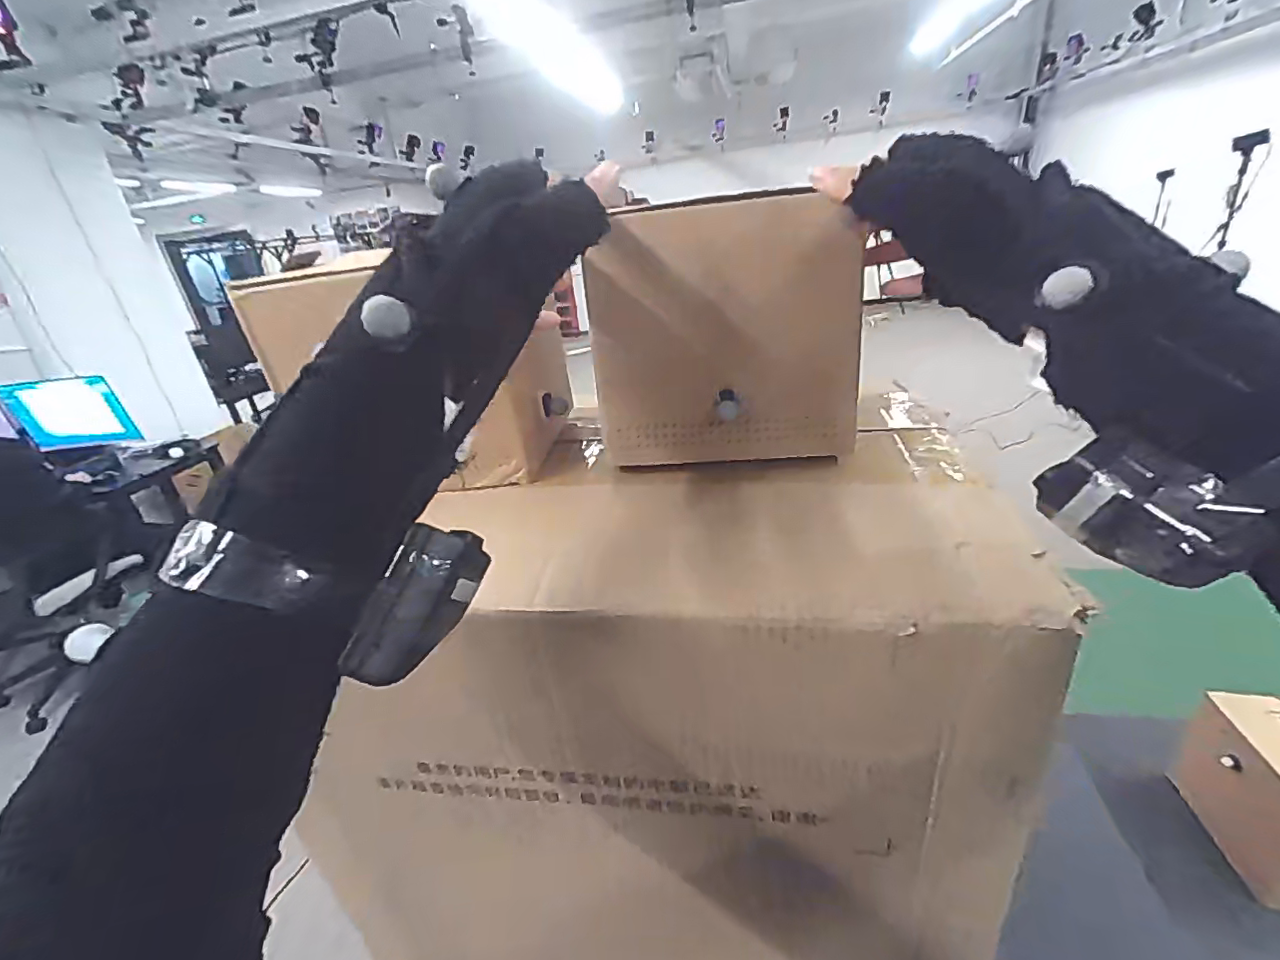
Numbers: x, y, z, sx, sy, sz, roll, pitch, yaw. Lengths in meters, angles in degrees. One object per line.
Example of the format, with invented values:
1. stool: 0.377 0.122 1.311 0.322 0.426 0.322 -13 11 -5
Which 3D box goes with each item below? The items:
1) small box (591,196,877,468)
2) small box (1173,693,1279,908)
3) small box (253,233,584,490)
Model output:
1. small box: 0.071 -0.115 0.431 0.179 0.176 0.168 -4 20 8
2. small box: 0.821 0.394 0.664 0.168 0.176 0.179 -1 26 13
3. small box: -0.157 -0.100 0.453 0.179 0.176 0.168 -3 29 8
